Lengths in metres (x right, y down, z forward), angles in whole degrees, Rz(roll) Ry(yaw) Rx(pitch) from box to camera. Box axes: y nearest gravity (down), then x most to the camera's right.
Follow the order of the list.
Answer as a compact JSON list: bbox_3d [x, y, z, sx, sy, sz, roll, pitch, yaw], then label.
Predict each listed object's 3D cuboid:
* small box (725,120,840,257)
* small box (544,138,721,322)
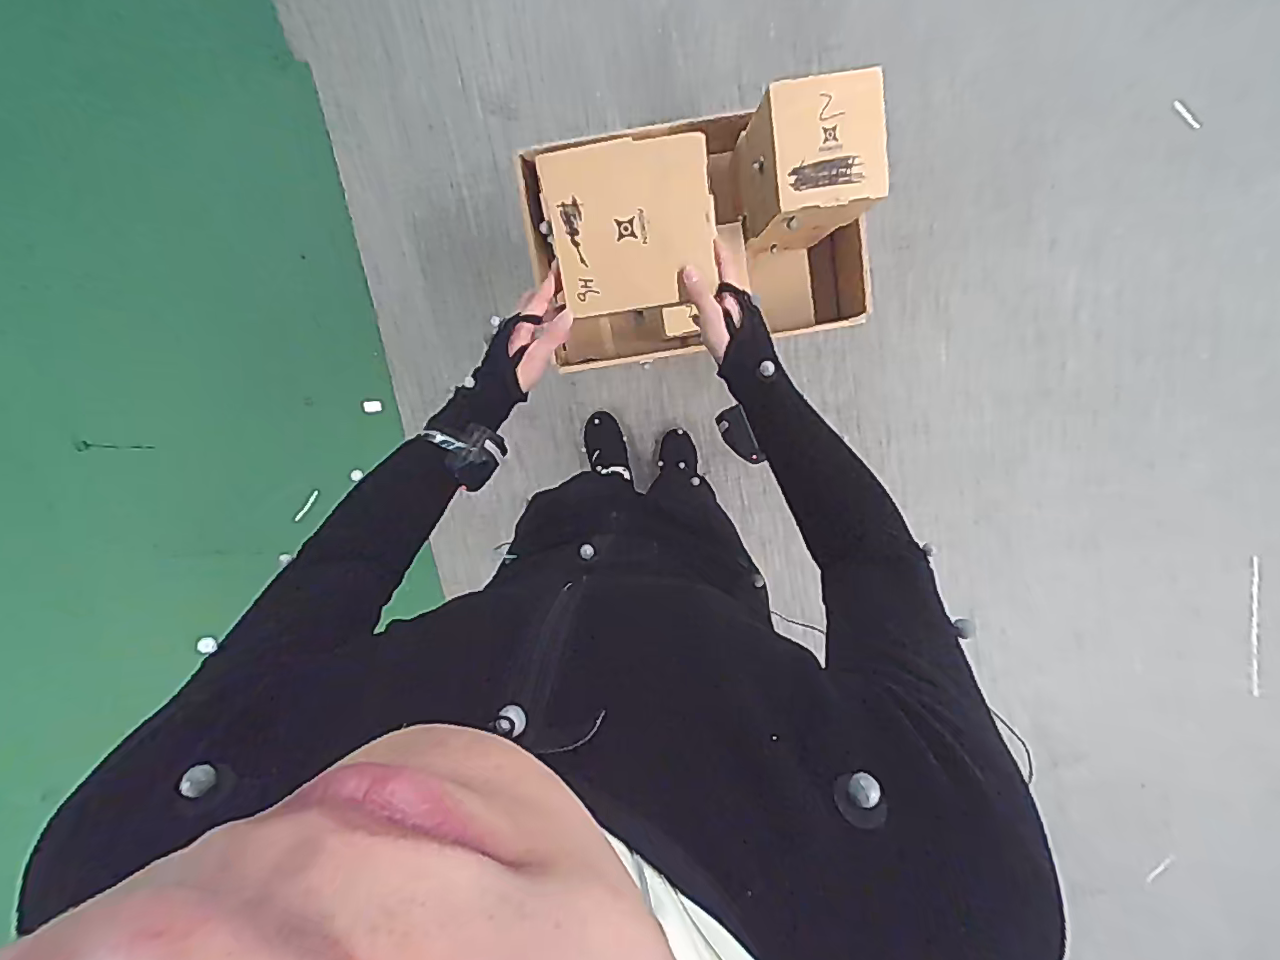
[{"bbox_3d":[0.262,-0.541,1.024,0.168,0.176,0.179,-8,101,0],"label":"small box"},{"bbox_3d":[-0.011,-0.288,0.655,0.179,0.176,0.168,-9,105,-2],"label":"small box"}]
